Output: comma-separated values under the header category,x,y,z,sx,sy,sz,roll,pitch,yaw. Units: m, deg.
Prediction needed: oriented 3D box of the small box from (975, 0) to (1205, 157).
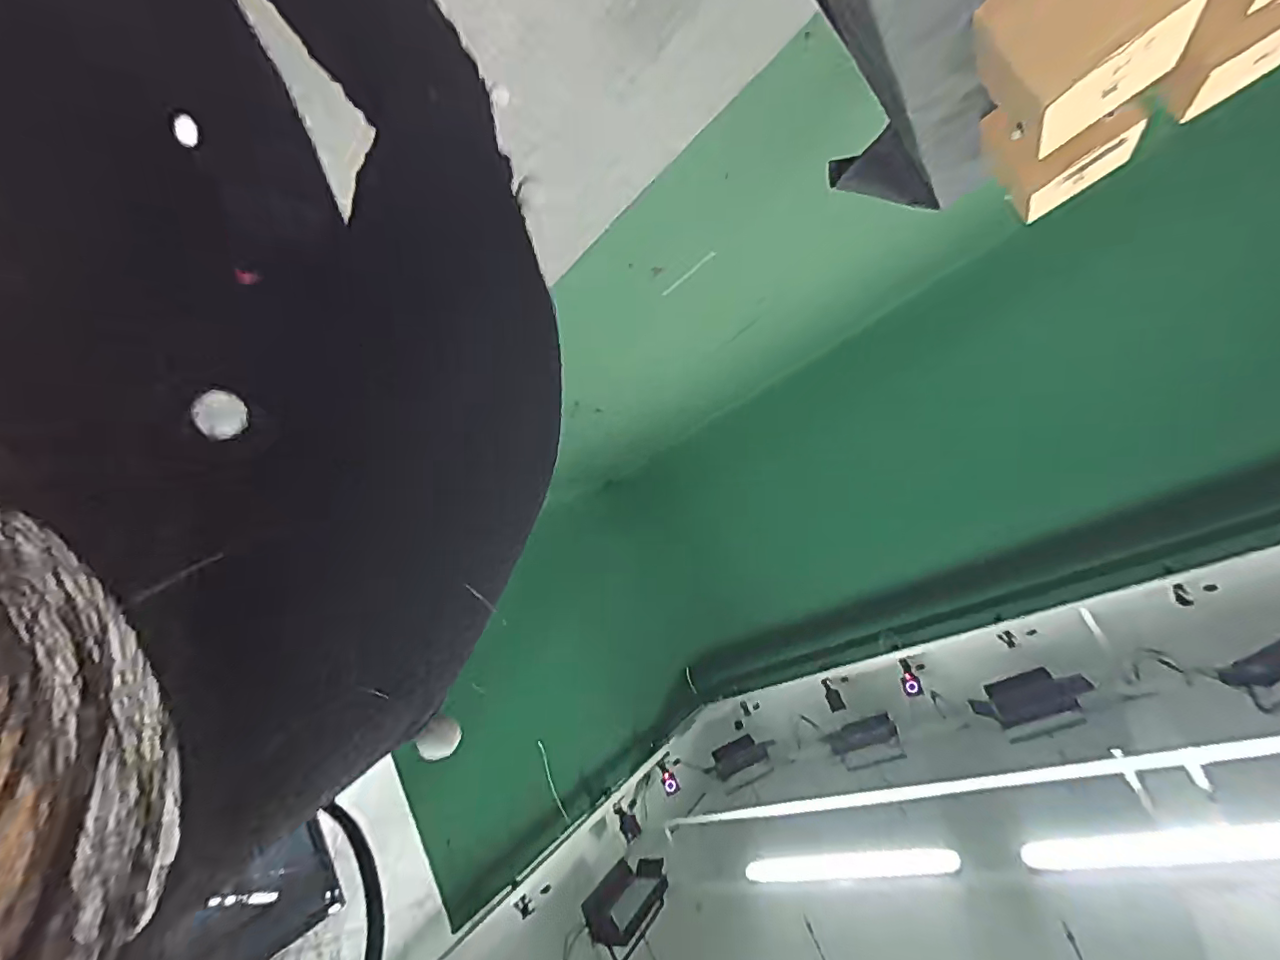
category,x,y,z,sx,sy,sz,roll,pitch,yaw
small box,0.566,-0.579,0.705,0.168,0.176,0.179,-33,167,32

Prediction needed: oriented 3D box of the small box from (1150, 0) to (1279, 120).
category,x,y,z,sx,sy,sz,roll,pitch,yaw
small box,0.903,-0.714,0.821,0.179,0.176,0.168,-30,168,31
